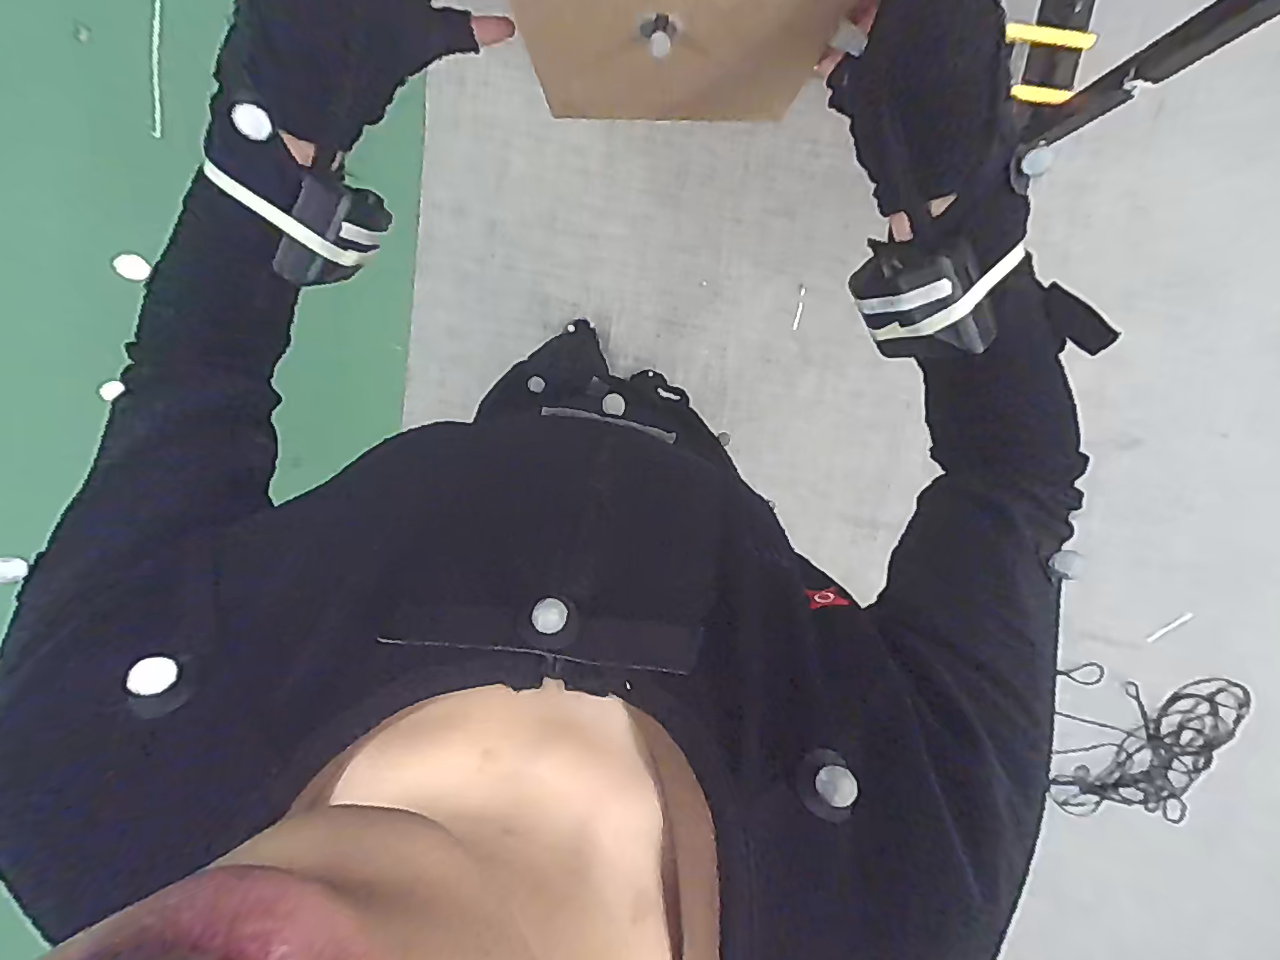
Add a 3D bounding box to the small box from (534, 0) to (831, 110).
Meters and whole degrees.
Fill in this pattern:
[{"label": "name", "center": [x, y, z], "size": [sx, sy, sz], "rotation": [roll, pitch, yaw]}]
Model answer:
[{"label": "small box", "center": [0.024, -0.341, 0.314], "size": [0.179, 0.176, 0.168], "rotation": [1, 105, -1]}]
